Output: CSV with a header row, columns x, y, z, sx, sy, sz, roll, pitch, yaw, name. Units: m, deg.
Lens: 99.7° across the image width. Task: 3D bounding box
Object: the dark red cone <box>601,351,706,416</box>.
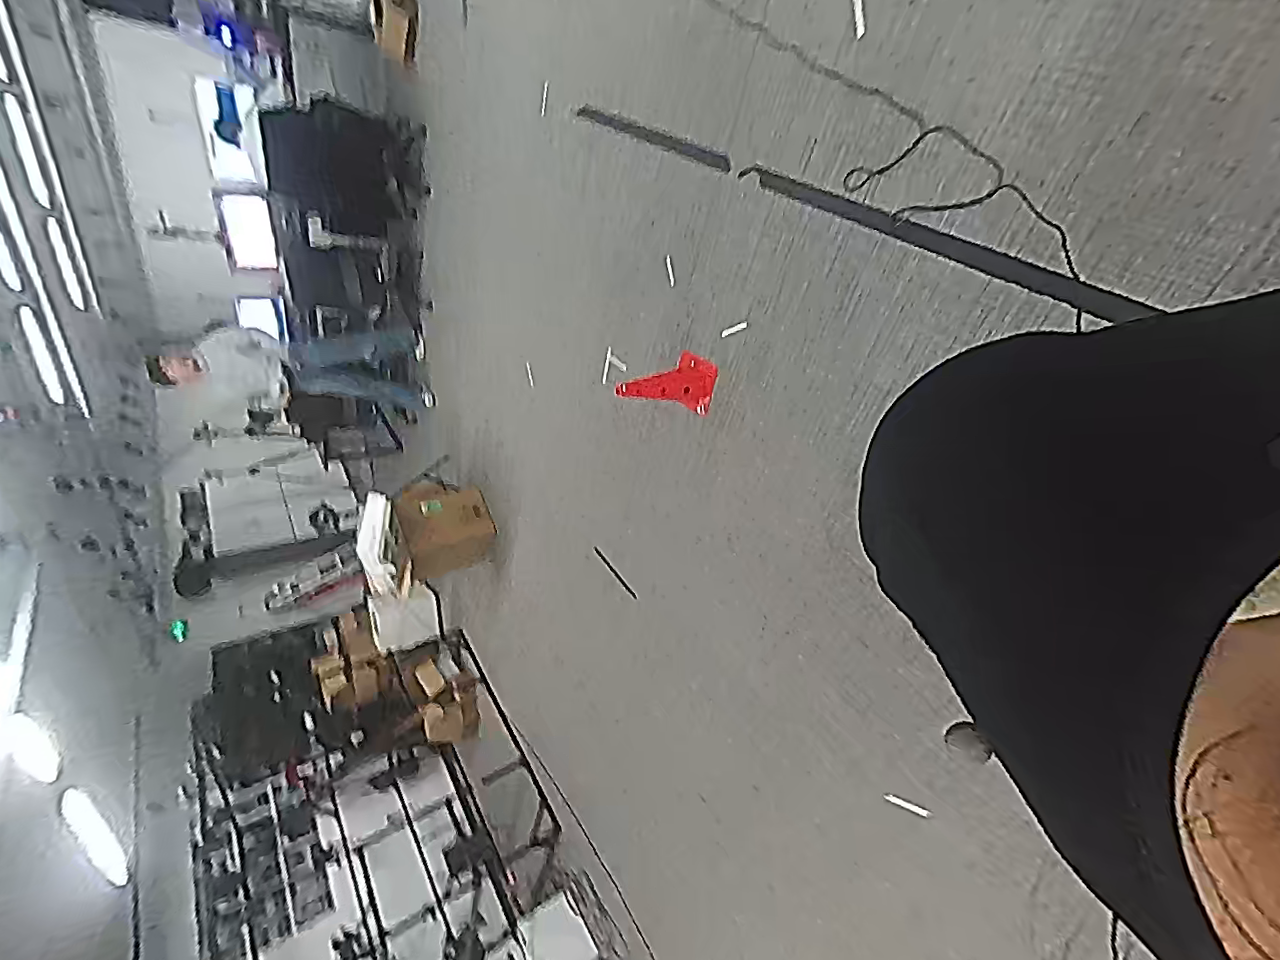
x,y,z,sx,sy,sz,roll,pitch,yaw,name
0.036,-0.337,1.916,0.202,0.394,0.201,39,128,42,dark red cone
